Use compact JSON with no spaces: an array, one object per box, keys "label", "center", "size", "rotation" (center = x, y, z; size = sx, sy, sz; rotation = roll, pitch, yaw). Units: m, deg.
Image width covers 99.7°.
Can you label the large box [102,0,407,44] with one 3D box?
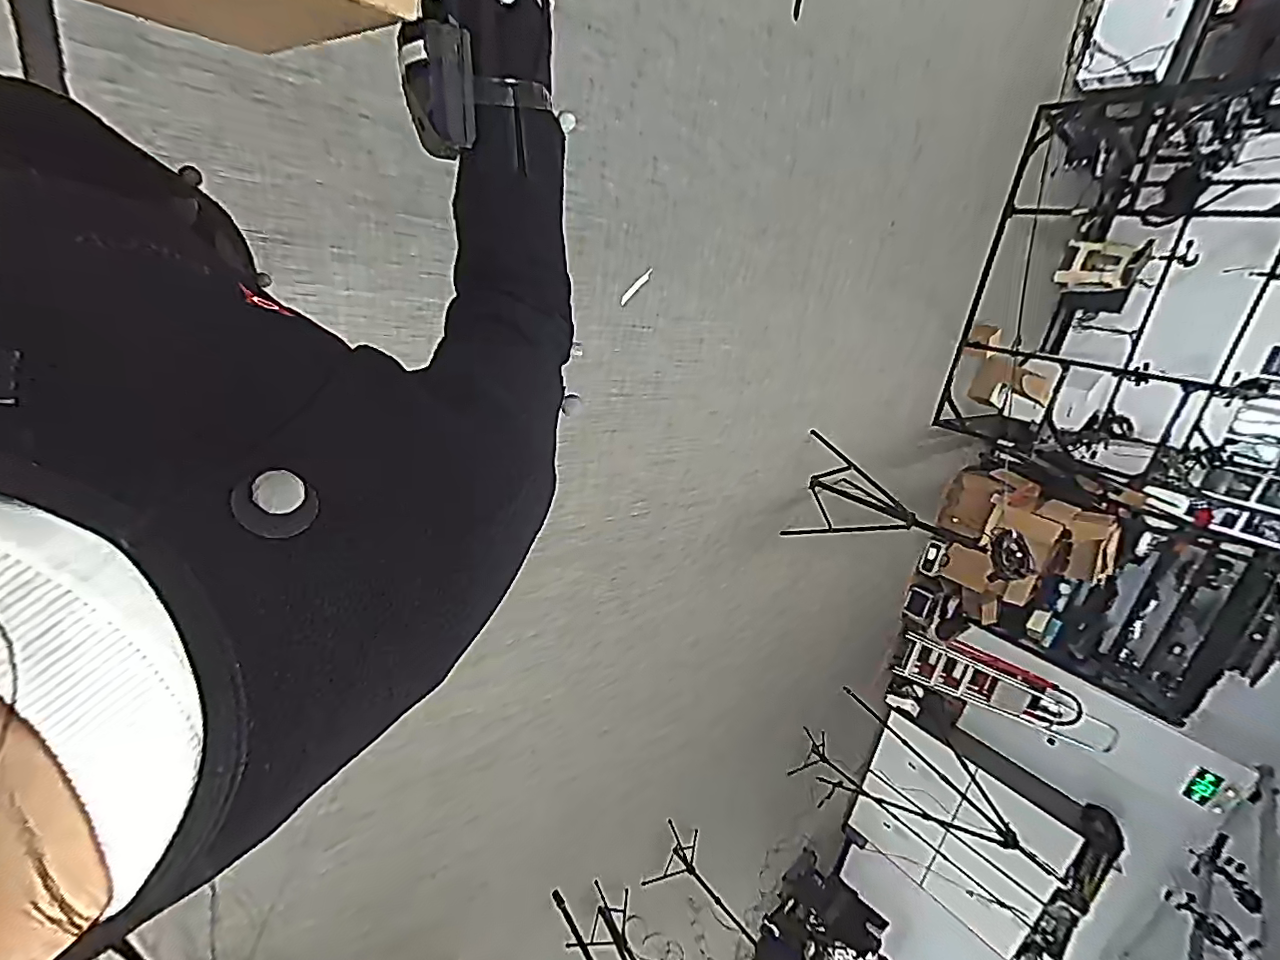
[{"label":"large box","center":[-0.348,-0.420,0.195],"size":[0.408,0.320,0.320],"rotation":[-15,126,-43]}]
